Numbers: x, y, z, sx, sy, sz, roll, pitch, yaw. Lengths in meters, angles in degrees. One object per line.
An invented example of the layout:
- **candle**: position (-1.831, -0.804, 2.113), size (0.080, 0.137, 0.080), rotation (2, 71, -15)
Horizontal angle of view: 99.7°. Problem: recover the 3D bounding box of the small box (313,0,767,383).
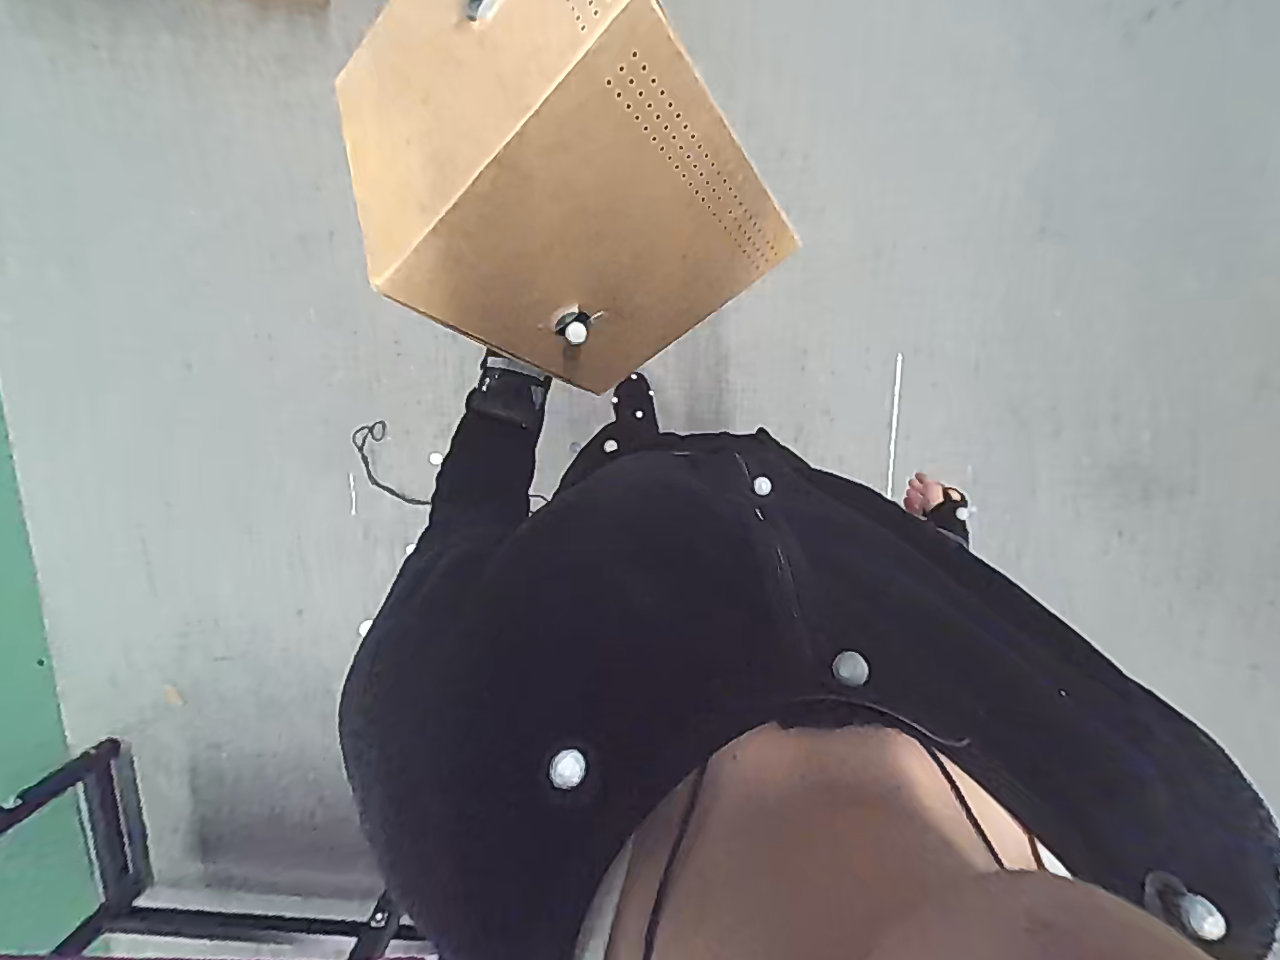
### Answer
- **small box**: position (-0.051, -0.189, 0.313), size (0.176, 0.179, 0.168), rotation (-32, 65, 24)
